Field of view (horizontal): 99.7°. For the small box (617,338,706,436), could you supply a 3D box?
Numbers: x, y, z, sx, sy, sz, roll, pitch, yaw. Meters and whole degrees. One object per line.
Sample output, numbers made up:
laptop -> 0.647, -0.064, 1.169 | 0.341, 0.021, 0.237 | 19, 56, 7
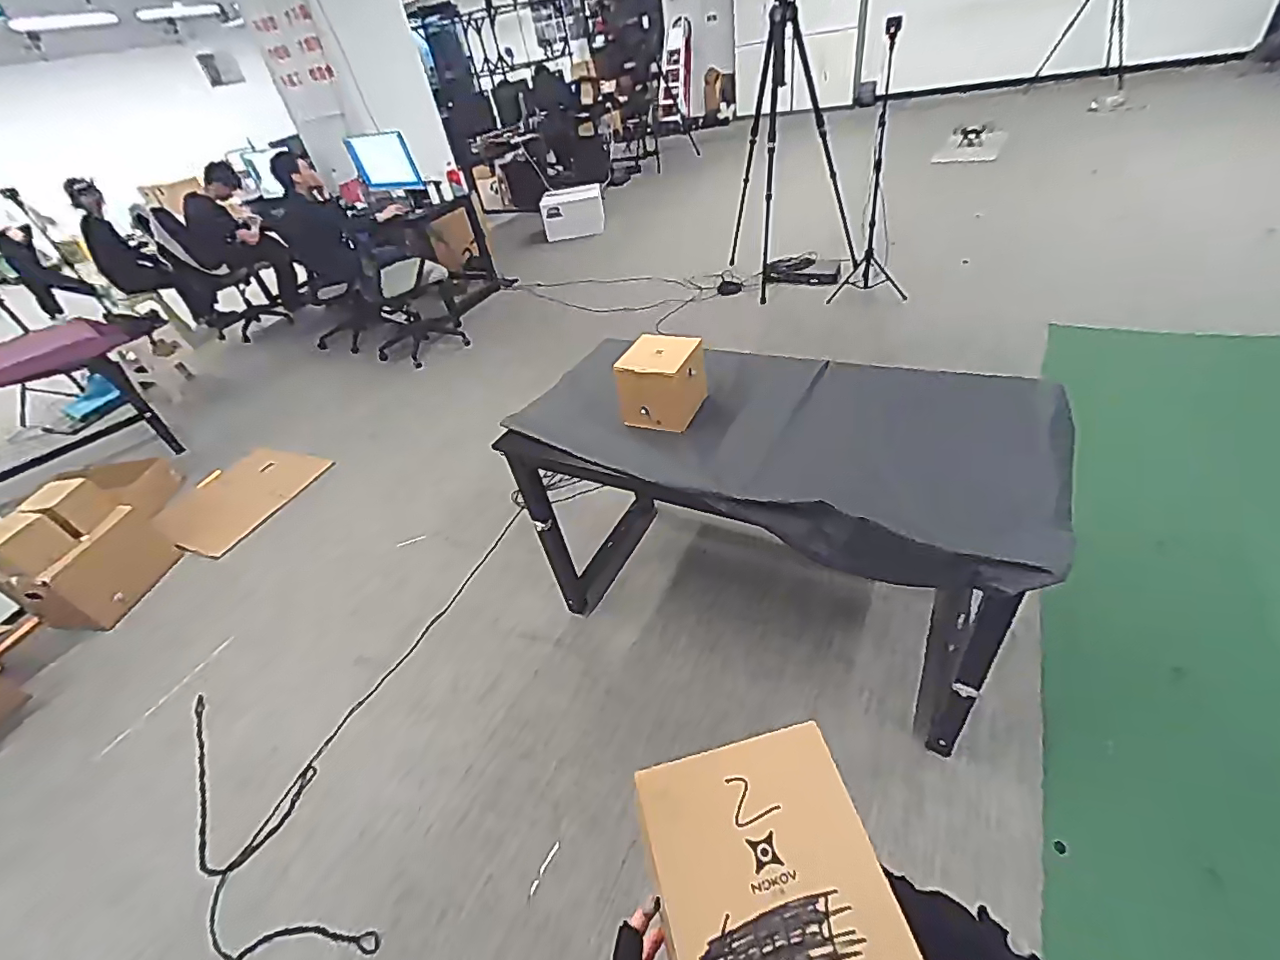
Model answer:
small box -> 0.063, -0.237, 1.369 | 0.168, 0.176, 0.179 | 12, 46, 25
